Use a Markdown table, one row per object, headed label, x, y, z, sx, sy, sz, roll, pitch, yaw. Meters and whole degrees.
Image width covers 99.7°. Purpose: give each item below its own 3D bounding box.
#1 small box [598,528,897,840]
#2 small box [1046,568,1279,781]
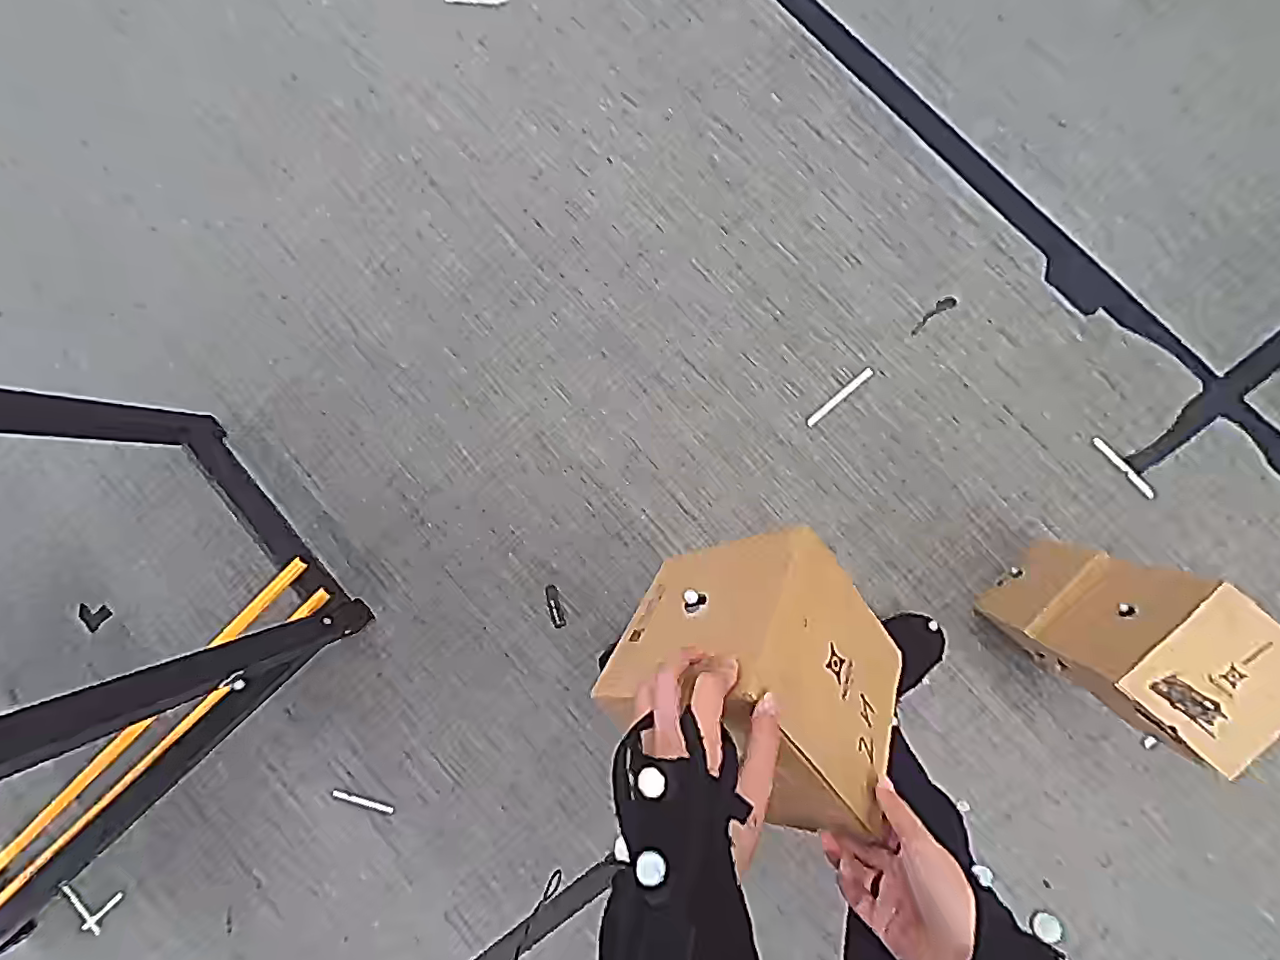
| label | x | y | z | sx | sy | sz | roll | pitch | yaw |
| --- | --- | --- | --- | --- | --- | --- | --- | --- | --- |
| small box | 0.095 | 0.173 | 0.474 | 0.176 | 0.168 | 0.179 | -22 | 113 | 44 |
| small box | 0.691 | 0.240 | 0.714 | 0.168 | 0.176 | 0.179 | 43 | 95 | 5 |
